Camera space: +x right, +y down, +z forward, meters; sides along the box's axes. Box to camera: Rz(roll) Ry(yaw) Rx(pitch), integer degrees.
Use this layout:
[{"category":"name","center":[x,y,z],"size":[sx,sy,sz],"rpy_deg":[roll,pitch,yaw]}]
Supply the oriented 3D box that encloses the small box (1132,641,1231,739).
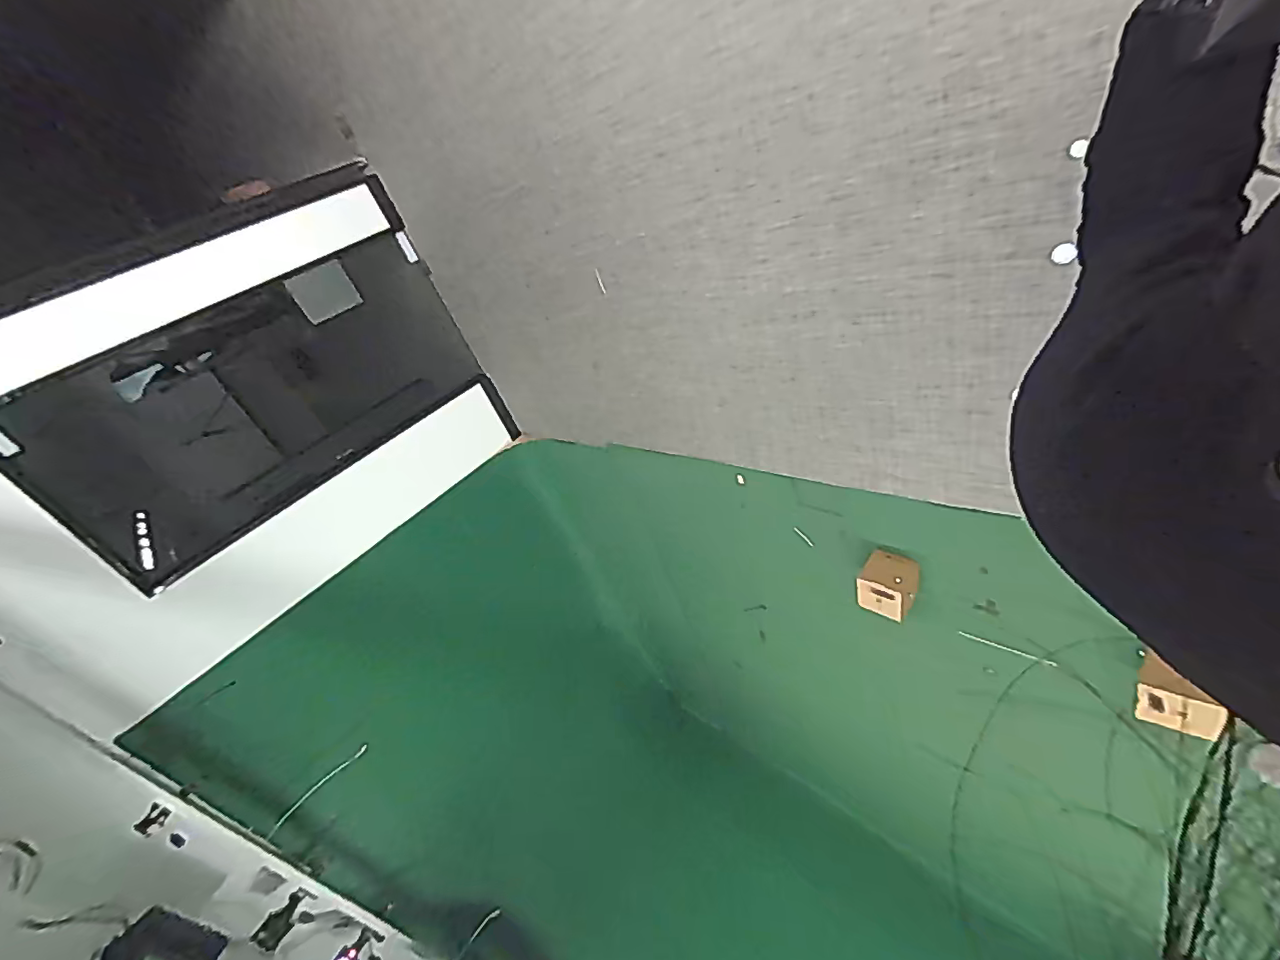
[{"category":"small box","center":[1.543,0.589,1.543],"size":[0.179,0.176,0.168],"rpy_deg":[9,134,46]}]
